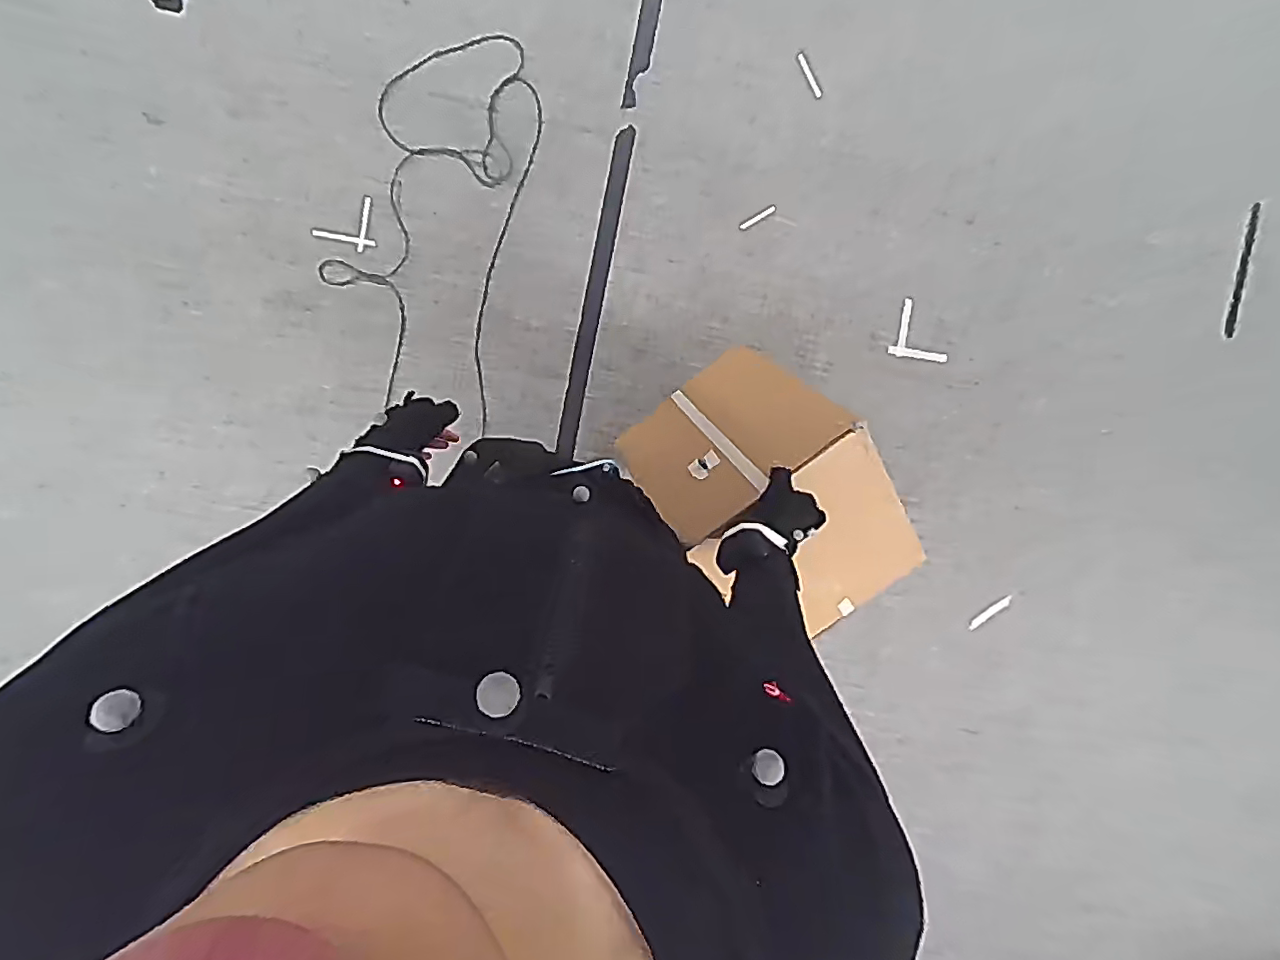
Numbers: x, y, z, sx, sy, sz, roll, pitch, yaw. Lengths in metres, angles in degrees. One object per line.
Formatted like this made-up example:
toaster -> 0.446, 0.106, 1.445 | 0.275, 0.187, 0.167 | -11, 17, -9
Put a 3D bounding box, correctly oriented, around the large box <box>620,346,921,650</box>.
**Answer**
large box -> 0.214, 0.014, 0.982 | 0.320, 0.408, 0.320 | -38, 123, 6
